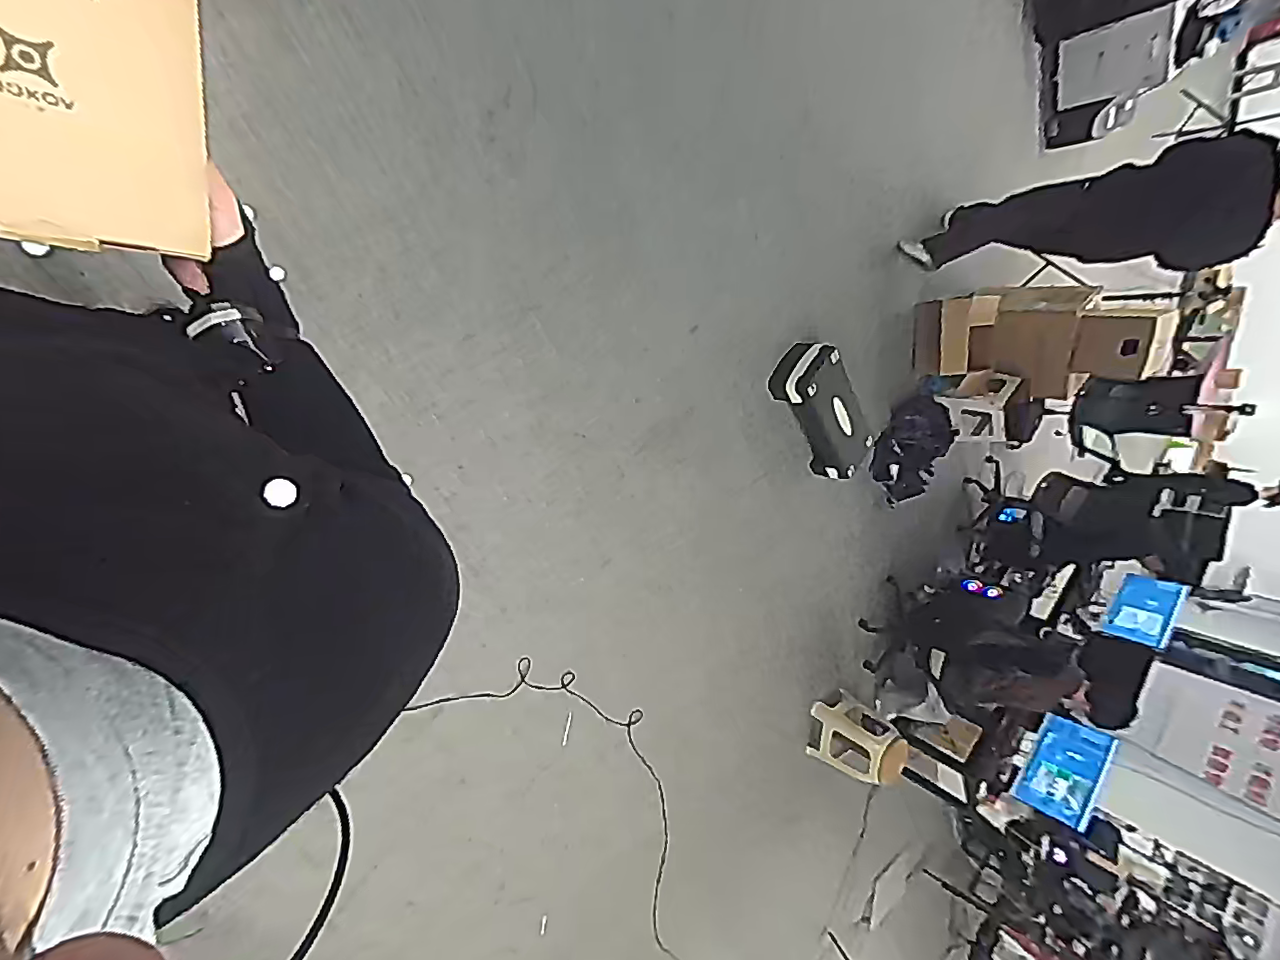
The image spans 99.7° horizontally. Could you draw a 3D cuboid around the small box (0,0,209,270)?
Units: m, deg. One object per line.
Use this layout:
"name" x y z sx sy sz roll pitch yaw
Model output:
"small box" -0.406 -0.248 0.349 0.168 0.176 0.179 -12 117 -51
